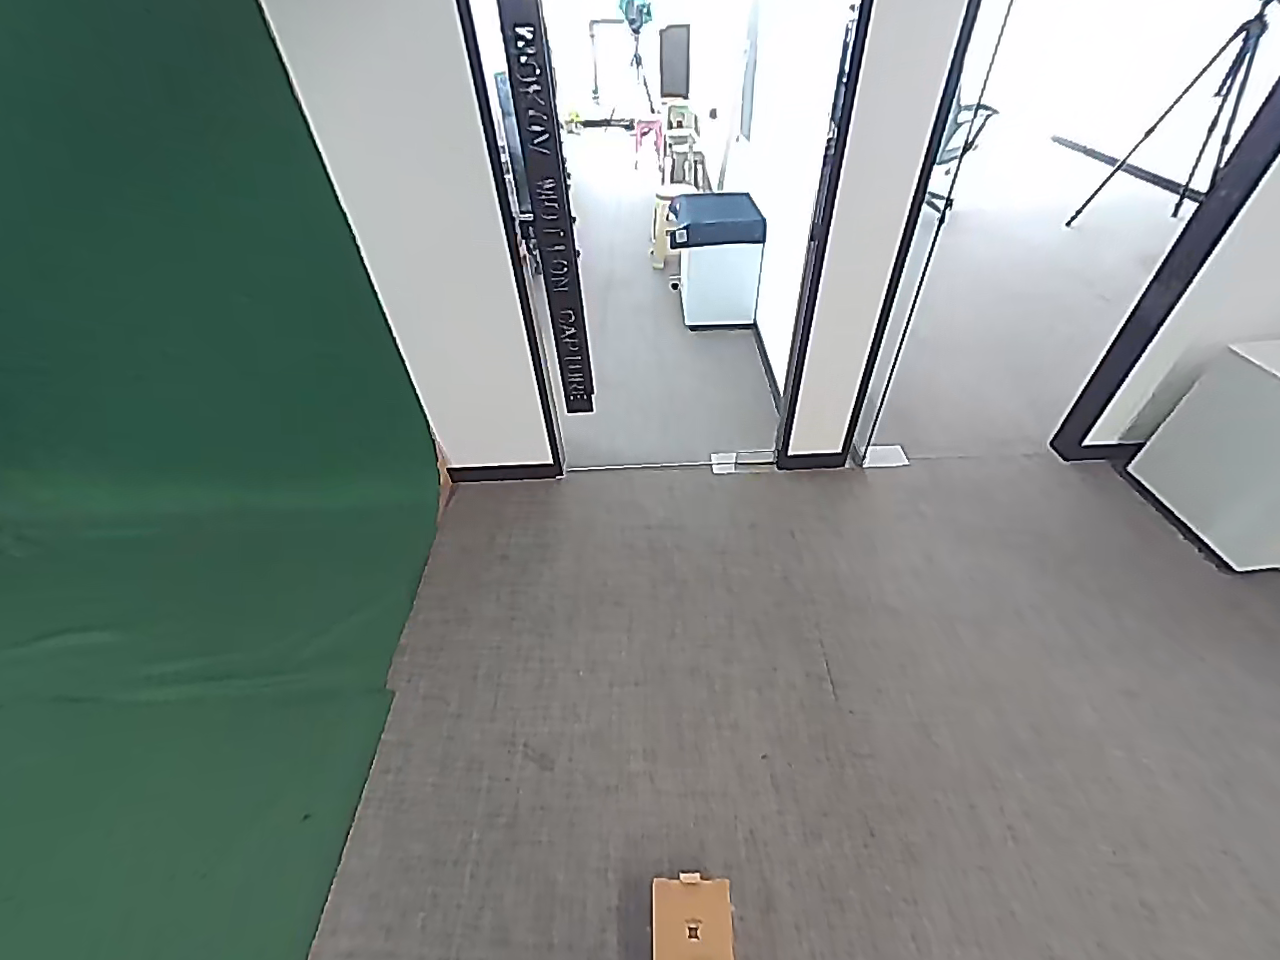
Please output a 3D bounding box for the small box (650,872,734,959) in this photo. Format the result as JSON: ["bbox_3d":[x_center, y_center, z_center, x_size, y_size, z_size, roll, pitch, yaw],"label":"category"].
[{"bbox_3d":[0.109,0.960,1.149,0.168,0.176,0.179,-2,44,5],"label":"small box"}]
